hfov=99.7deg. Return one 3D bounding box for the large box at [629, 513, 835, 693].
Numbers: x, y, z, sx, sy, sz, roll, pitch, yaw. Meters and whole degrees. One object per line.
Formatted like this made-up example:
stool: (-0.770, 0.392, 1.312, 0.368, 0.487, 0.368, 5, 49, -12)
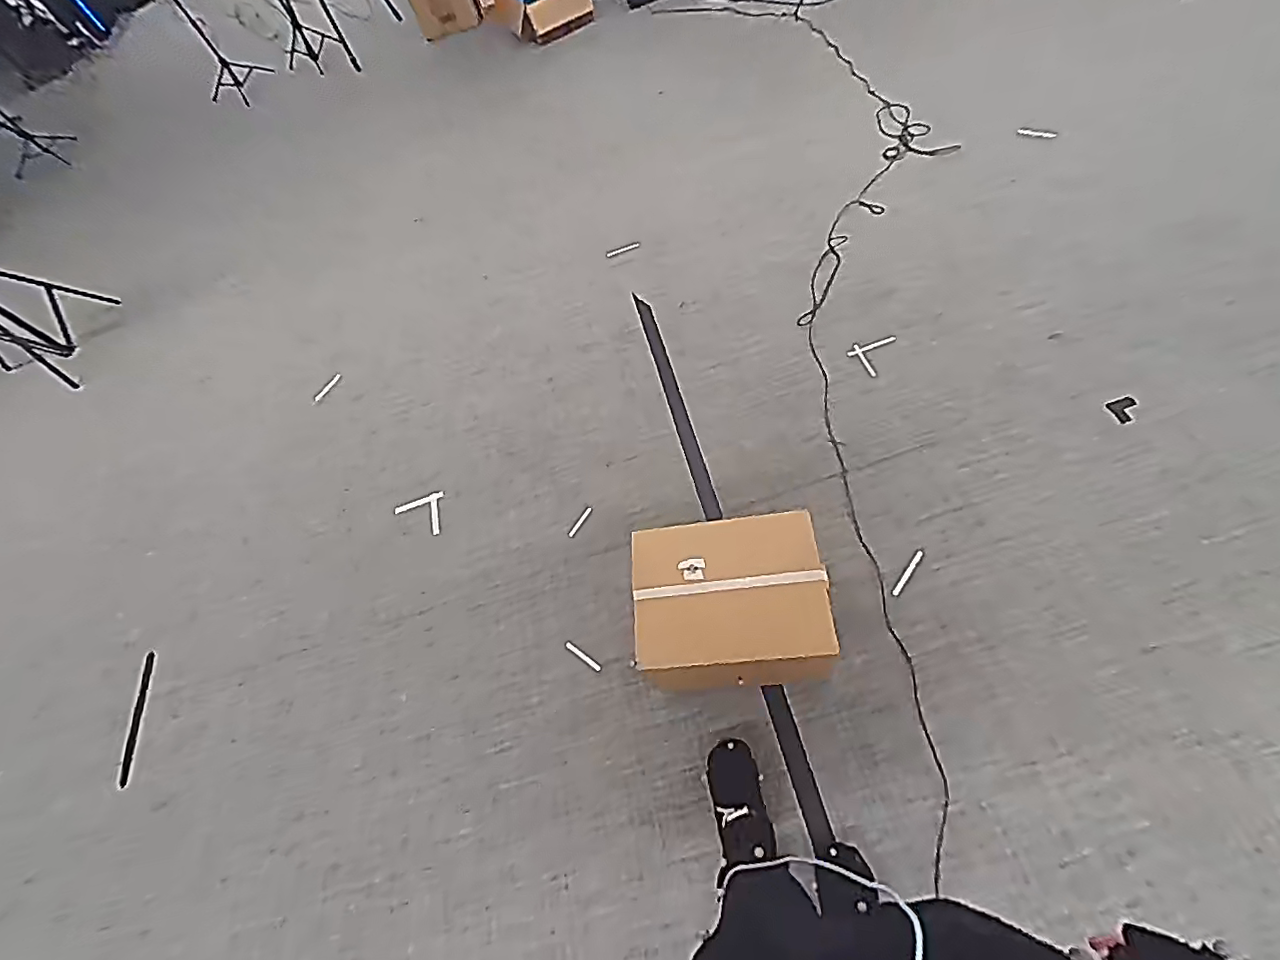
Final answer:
large box: (0.210, 0.305, 1.267, 0.408, 0.320, 0.320, -9, 58, 11)
